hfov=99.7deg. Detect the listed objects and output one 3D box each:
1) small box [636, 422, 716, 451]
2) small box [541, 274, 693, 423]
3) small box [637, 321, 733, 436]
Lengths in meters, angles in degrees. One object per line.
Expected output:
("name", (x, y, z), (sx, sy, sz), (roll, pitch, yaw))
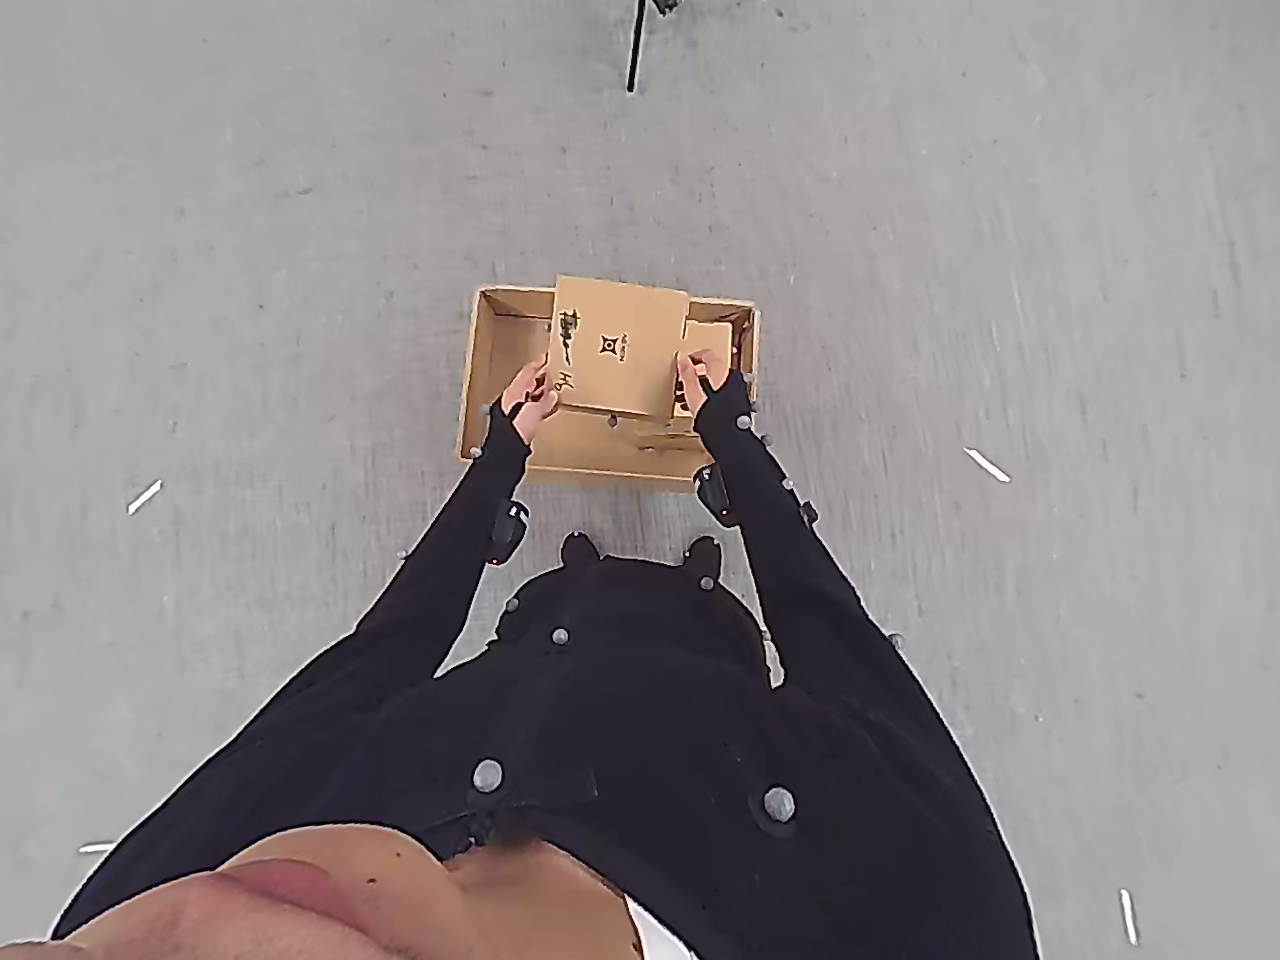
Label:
("small box", (0.078, -0.162, 1.172), (0.168, 0.176, 0.179), (2, 83, 1))
("small box", (-0.030, -0.173, 0.768), (0.179, 0.176, 0.168), (8, 93, 0))
("small box", (0.078, -0.182, 1.011), (0.168, 0.176, 0.179), (2, 83, 0))
